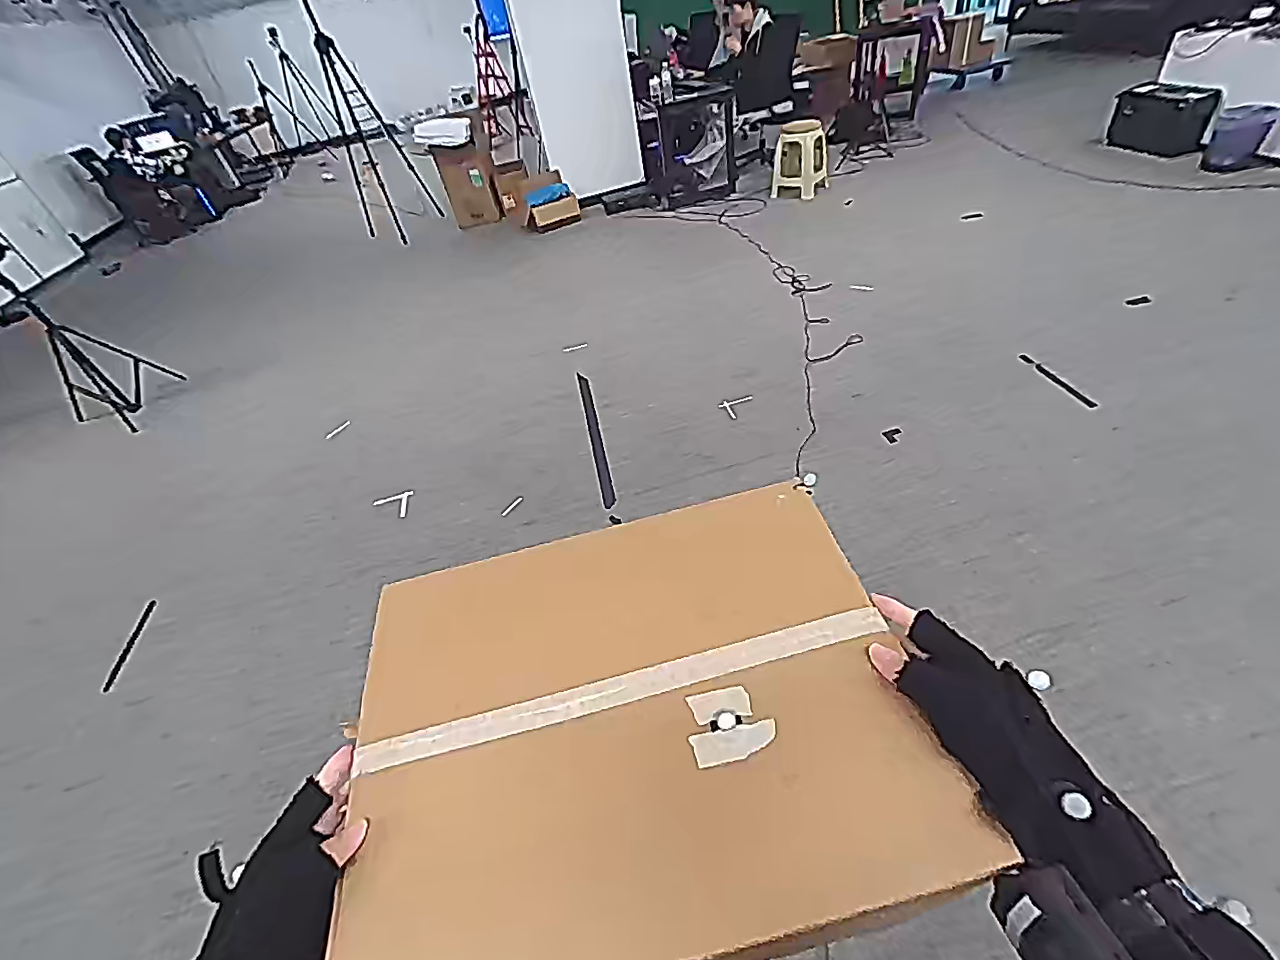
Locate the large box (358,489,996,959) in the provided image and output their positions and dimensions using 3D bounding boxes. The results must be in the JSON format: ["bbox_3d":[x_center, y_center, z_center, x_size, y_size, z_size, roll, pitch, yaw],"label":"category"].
[{"bbox_3d":[0.015,0.263,0.525,0.408,0.320,0.320,-14,47,-3],"label":"large box"}]
